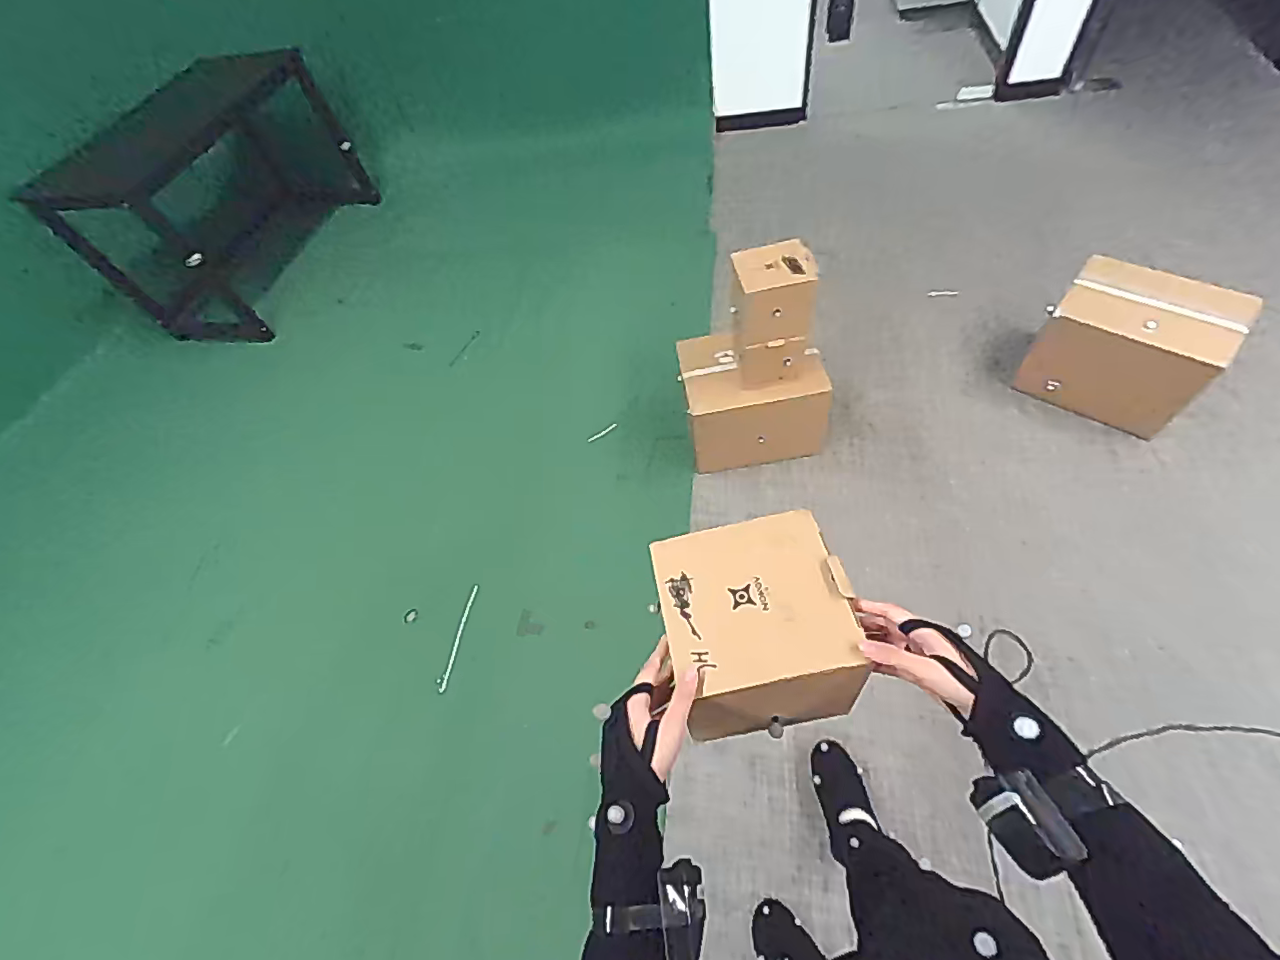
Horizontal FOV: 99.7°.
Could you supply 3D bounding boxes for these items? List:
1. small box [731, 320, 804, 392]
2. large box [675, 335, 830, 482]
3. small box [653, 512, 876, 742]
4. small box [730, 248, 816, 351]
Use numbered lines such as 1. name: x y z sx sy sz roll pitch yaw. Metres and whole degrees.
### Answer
1. small box: 0.353 -0.364 1.517 0.168 0.176 0.179 -10 55 4
2. large box: 0.349 -0.232 1.727 0.408 0.320 0.320 -11 54 5
3. small box: 0.118 0.160 0.573 0.179 0.176 0.168 -12 50 1
4. small box: 0.331 -0.458 1.384 0.179 0.176 0.168 -11 55 3
